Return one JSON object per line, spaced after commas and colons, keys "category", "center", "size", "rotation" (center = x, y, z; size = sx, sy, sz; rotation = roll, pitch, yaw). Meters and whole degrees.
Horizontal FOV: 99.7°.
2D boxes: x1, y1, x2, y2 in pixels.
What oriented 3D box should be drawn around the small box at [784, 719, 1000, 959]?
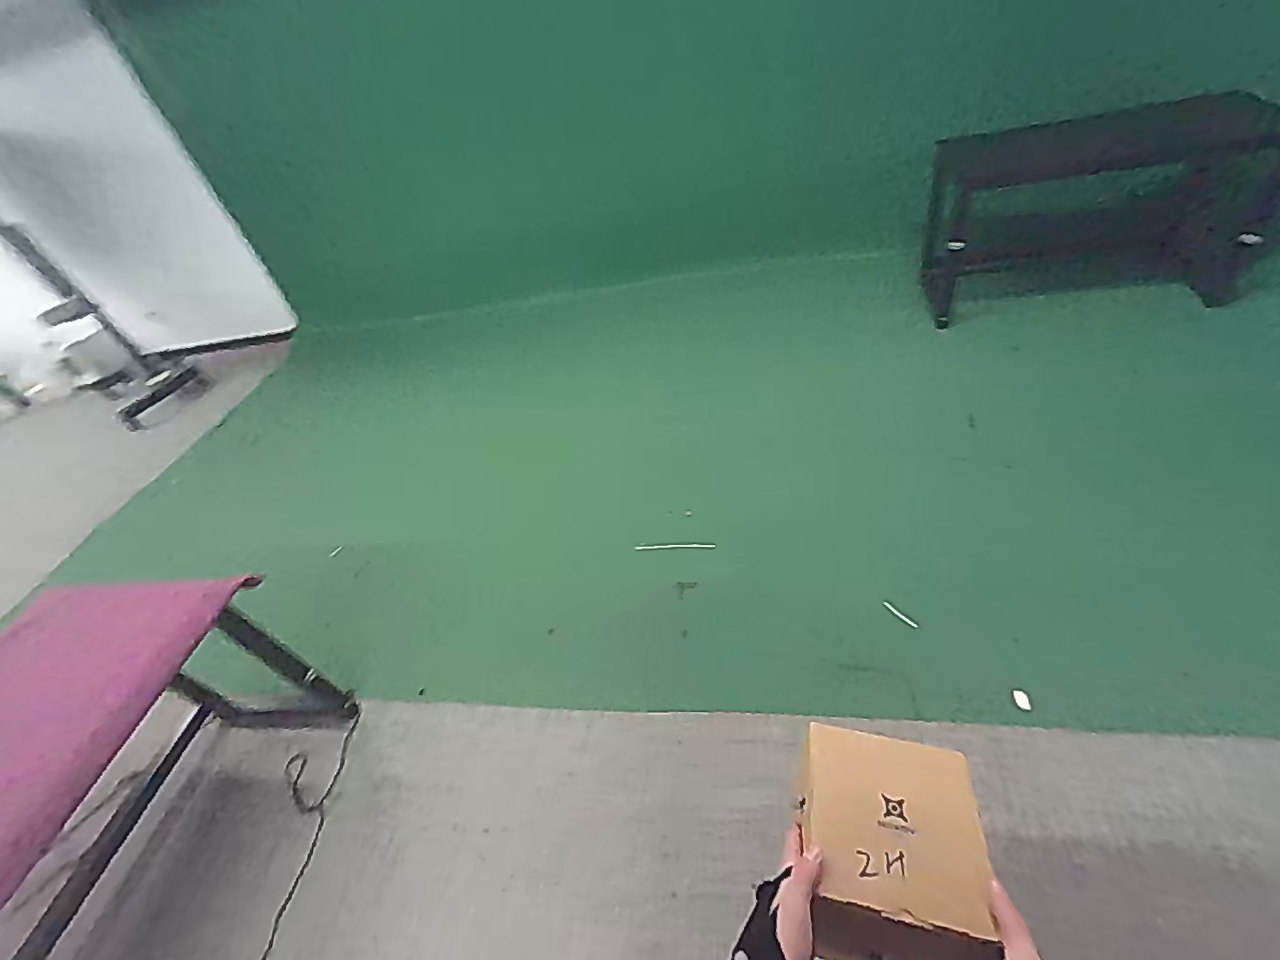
{"category": "small box", "center": [0.251, 0.399, 0.588], "size": [0.168, 0.176, 0.179], "rotation": [6, 37, 13]}
